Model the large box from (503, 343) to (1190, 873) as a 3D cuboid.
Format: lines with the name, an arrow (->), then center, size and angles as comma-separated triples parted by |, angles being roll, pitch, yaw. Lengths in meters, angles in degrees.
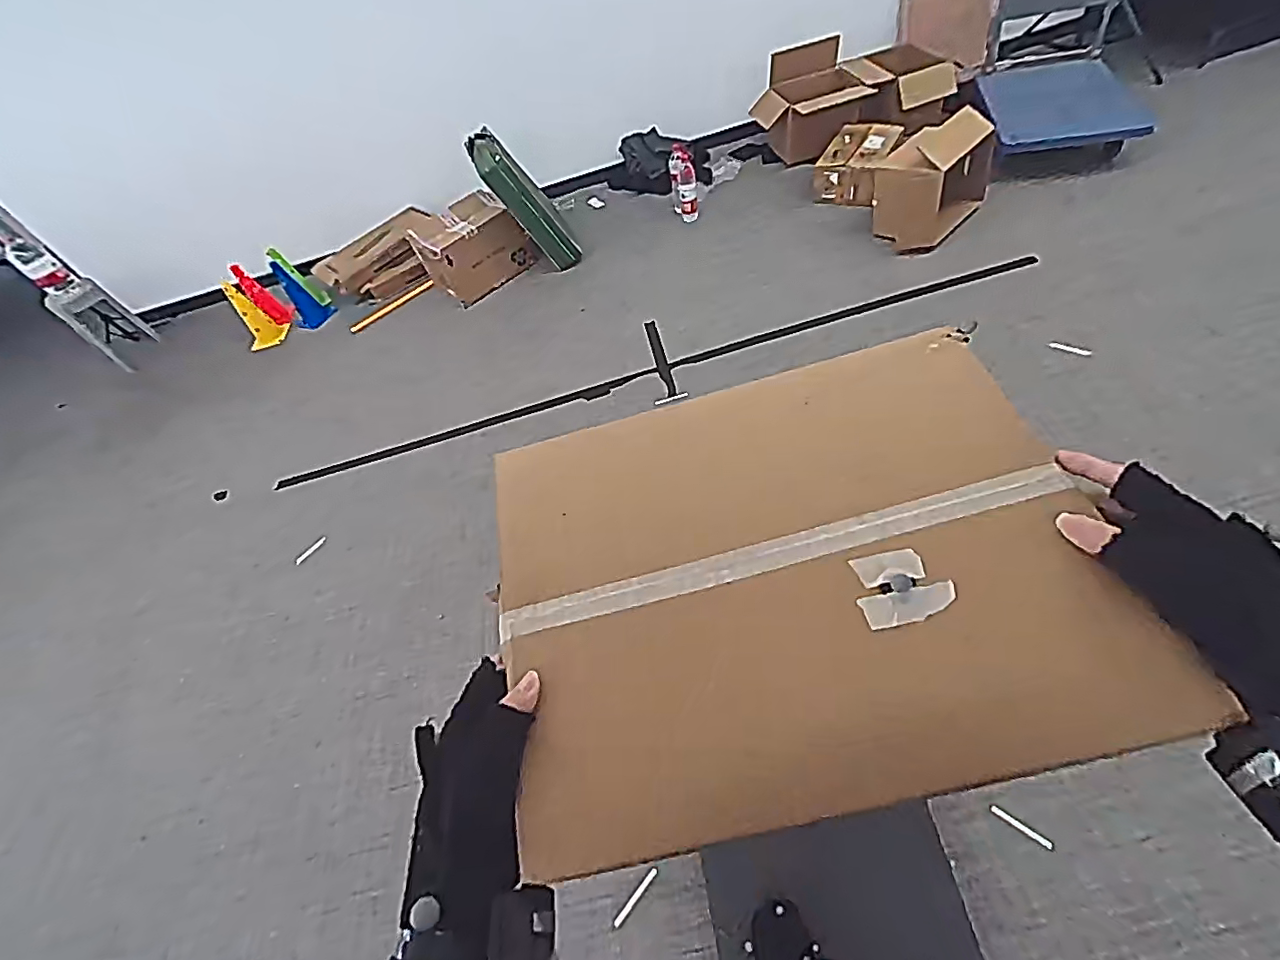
large box -> 0.124, 0.135, 0.522 | 0.408, 0.320, 0.320 | -16, 58, 3
